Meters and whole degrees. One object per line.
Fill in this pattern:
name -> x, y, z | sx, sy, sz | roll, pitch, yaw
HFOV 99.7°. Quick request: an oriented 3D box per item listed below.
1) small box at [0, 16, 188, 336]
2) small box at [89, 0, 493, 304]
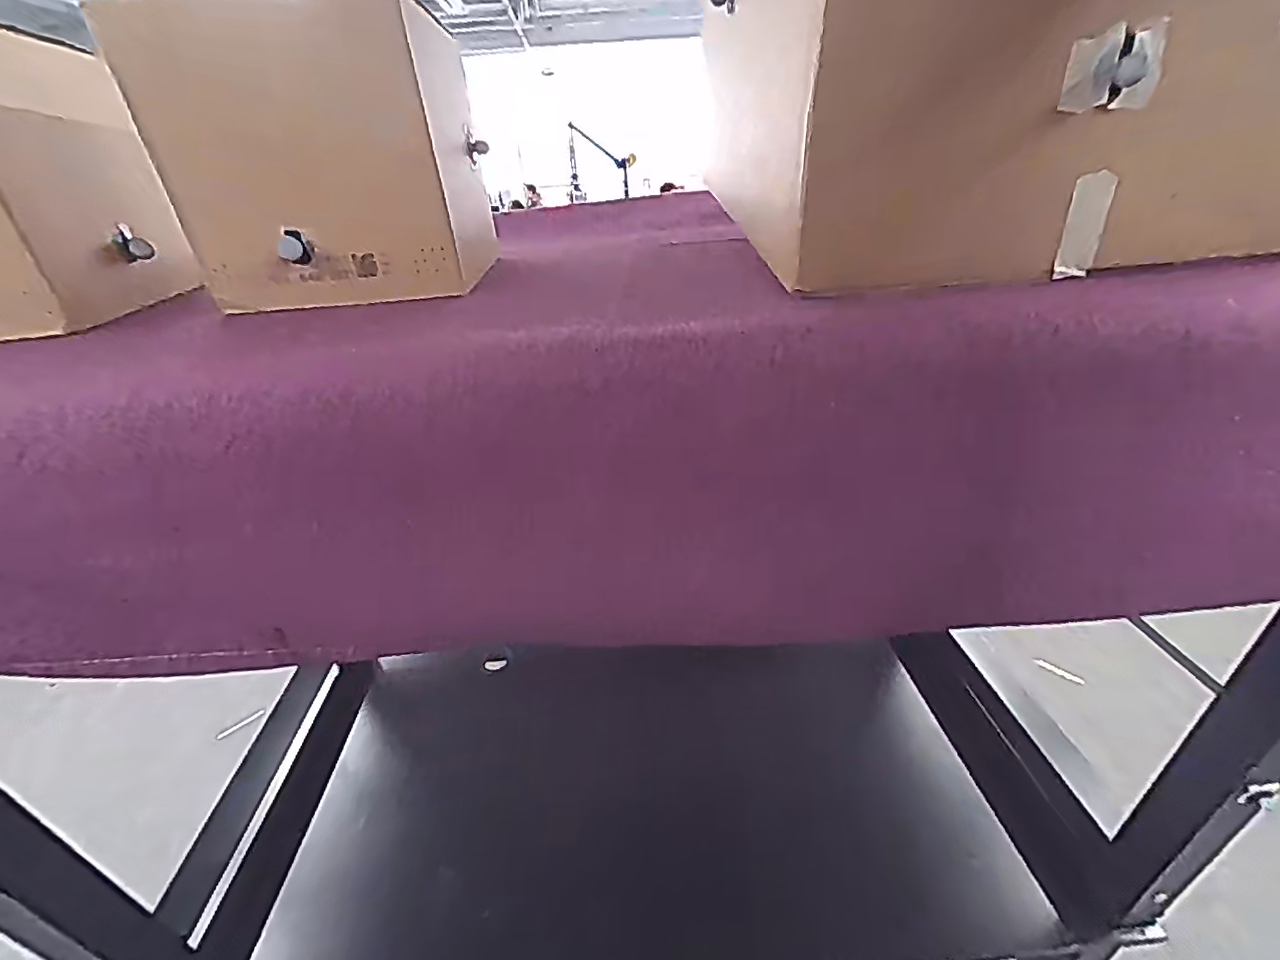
small box -> -0.452, -0.194, 0.357 | 0.168, 0.176, 0.179 | -10, 31, -9
small box -> -0.213, -0.234, 0.397 | 0.168, 0.176, 0.179 | -7, 31, -2
